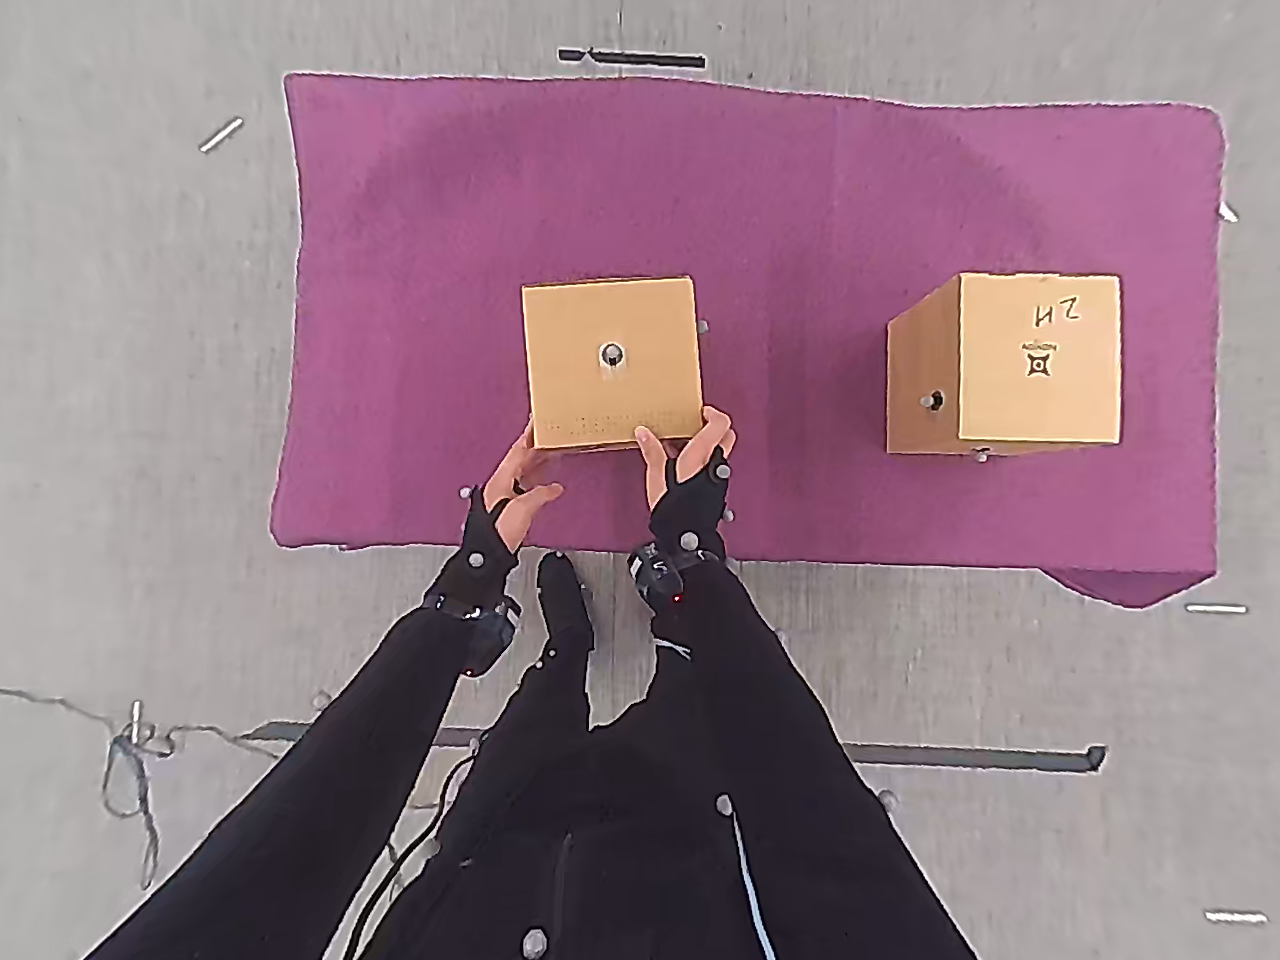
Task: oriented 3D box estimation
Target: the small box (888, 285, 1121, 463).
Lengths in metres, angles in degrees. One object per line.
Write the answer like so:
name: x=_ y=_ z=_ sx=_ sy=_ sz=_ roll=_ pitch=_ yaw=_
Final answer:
small box: x=0.411 y=-0.112 z=0.638 sx=0.168 sy=0.176 sz=0.179 roll=2 pitch=88 yaw=0
